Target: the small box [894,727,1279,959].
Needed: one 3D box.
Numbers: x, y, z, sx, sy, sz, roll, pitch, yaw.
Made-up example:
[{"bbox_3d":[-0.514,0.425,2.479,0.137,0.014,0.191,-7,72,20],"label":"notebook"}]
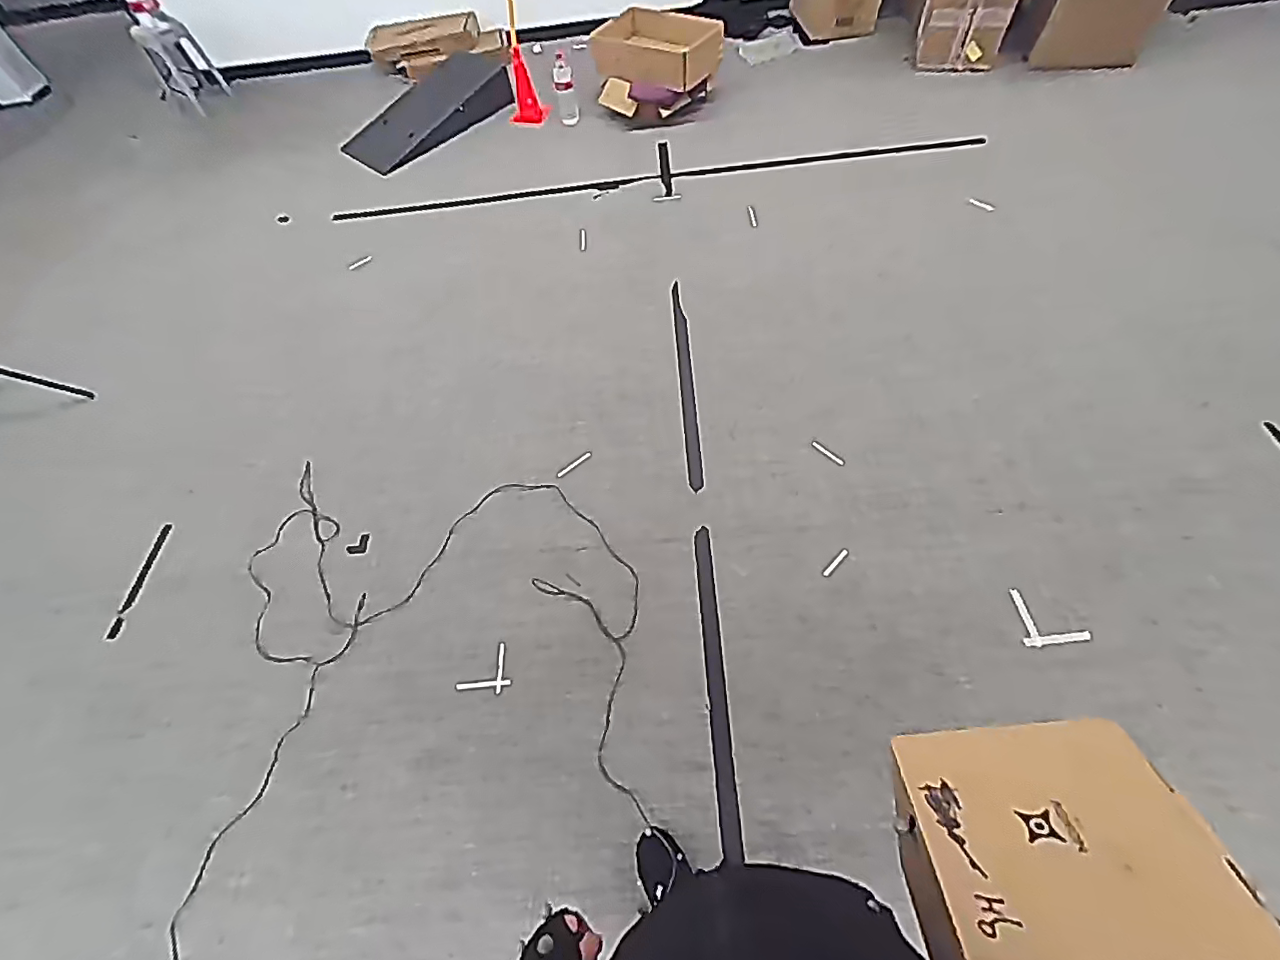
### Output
[{"bbox_3d":[0.314,0.322,0.422,0.179,0.176,0.168,-9,23,12],"label":"small box"}]
